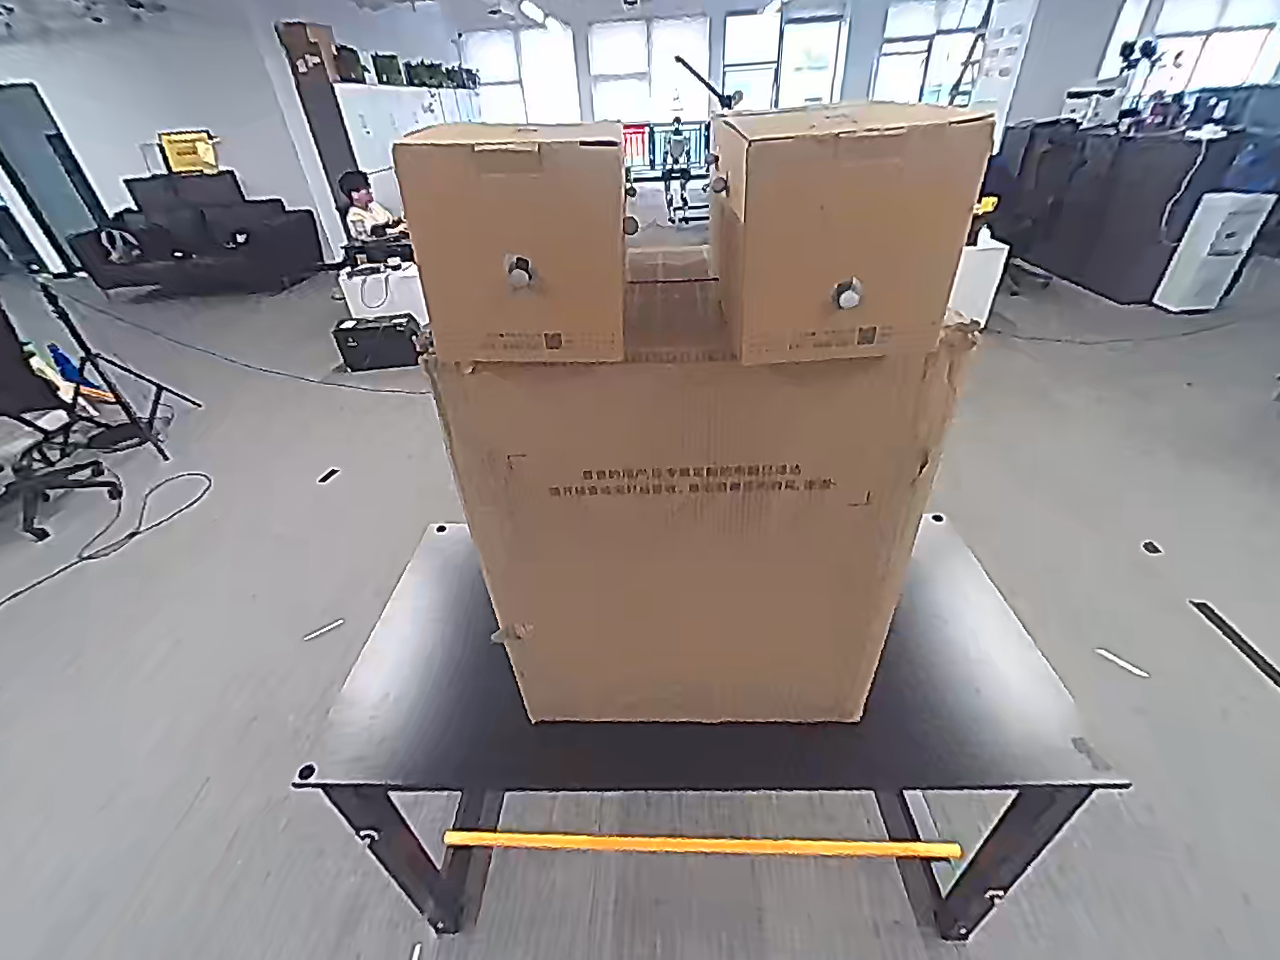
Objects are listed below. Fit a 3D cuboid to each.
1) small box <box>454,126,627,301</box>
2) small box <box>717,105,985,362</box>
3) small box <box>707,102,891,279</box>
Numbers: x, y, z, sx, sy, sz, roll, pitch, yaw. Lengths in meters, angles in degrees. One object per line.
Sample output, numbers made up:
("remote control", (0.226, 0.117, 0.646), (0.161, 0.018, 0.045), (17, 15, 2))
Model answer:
("small box", (-0.105, -0.325, 0.658), (0.168, 0.176, 0.179), (-3, 35, 2))
("small box", (0.157, -0.219, 0.478), (0.168, 0.176, 0.179), (-4, 38, 4))
("small box", (0.167, -0.330, 0.632), (0.168, 0.176, 0.179), (-4, 34, 3))
